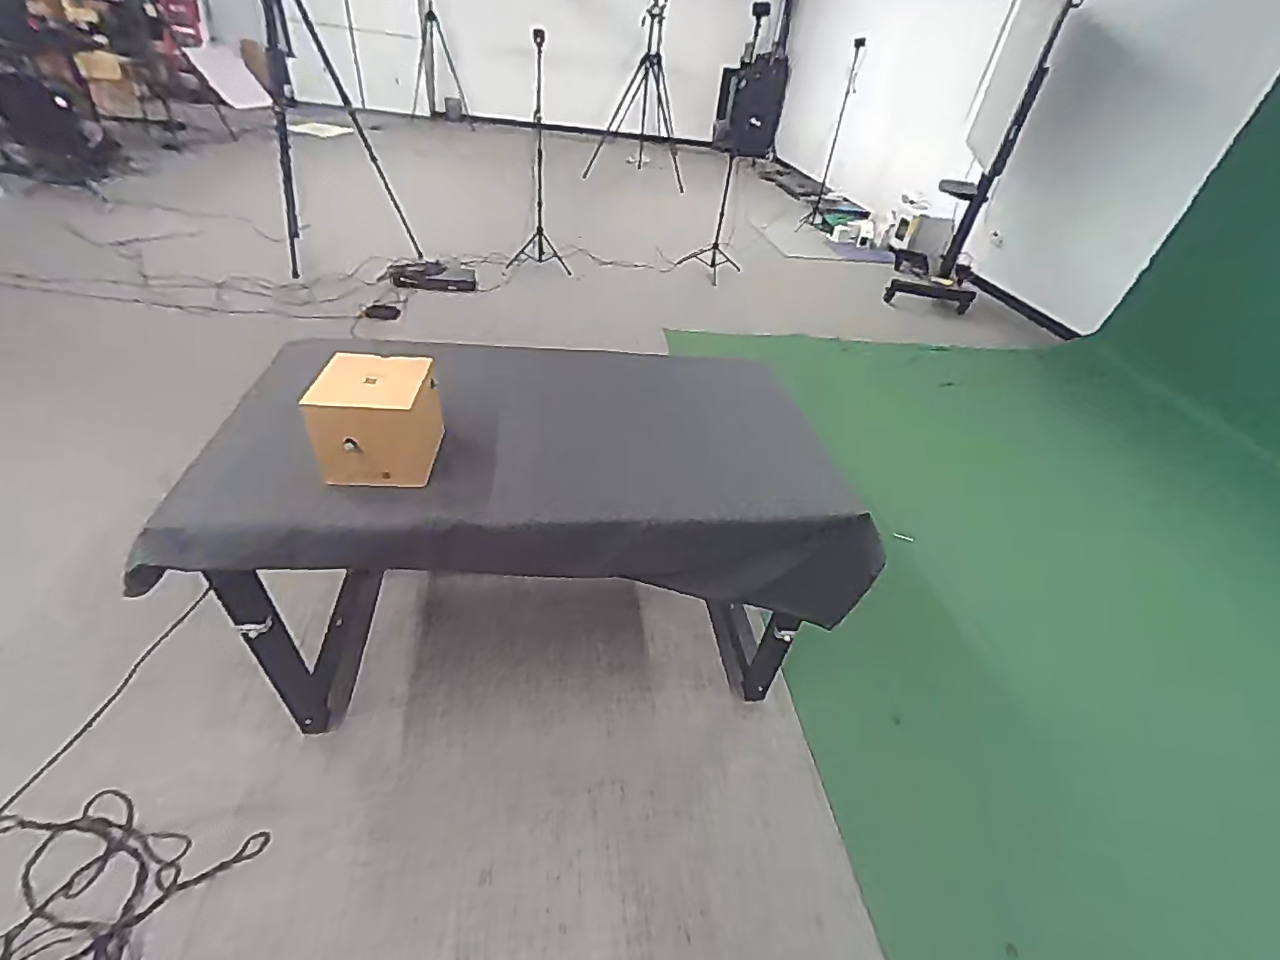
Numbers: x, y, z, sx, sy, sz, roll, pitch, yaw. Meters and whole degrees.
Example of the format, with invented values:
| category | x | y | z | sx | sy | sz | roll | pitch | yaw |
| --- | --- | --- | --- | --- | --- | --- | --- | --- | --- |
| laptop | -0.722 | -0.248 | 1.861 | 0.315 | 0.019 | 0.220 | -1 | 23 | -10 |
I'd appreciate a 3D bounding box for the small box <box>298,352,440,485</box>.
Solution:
| category | x | y | z | sx | sy | sz | roll | pitch | yaw |
| --- | --- | --- | --- | --- | --- | --- | --- | --- | --- |
| small box | -0.456 | -0.106 | 0.945 | 0.168 | 0.176 | 0.179 | 2 | 39 | -8 |
